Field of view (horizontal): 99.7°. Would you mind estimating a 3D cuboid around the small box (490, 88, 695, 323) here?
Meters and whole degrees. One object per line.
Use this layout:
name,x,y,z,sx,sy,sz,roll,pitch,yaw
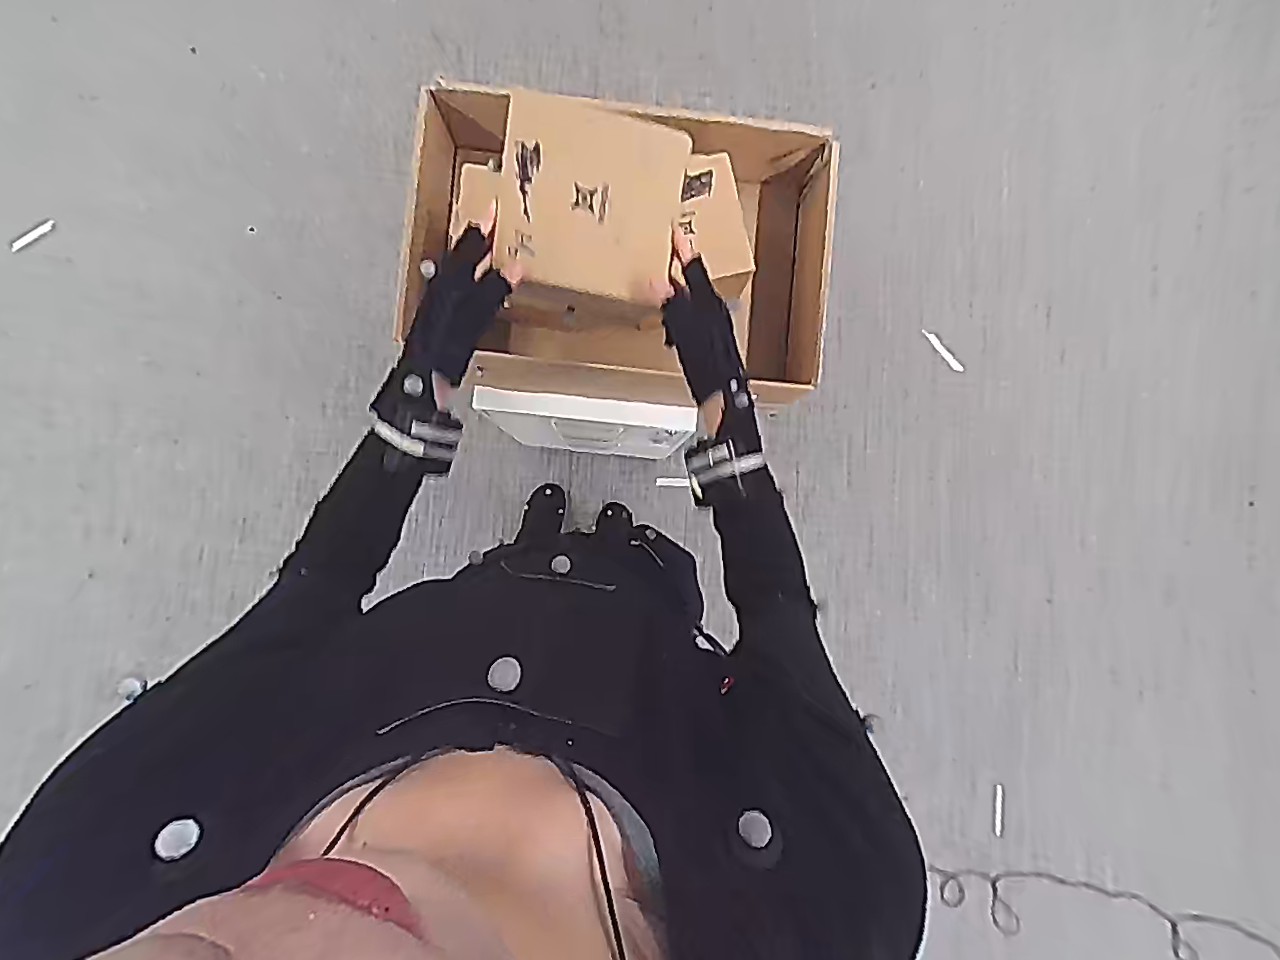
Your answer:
small box,-0.062,-0.272,0.587,0.179,0.176,0.168,8,98,-15
